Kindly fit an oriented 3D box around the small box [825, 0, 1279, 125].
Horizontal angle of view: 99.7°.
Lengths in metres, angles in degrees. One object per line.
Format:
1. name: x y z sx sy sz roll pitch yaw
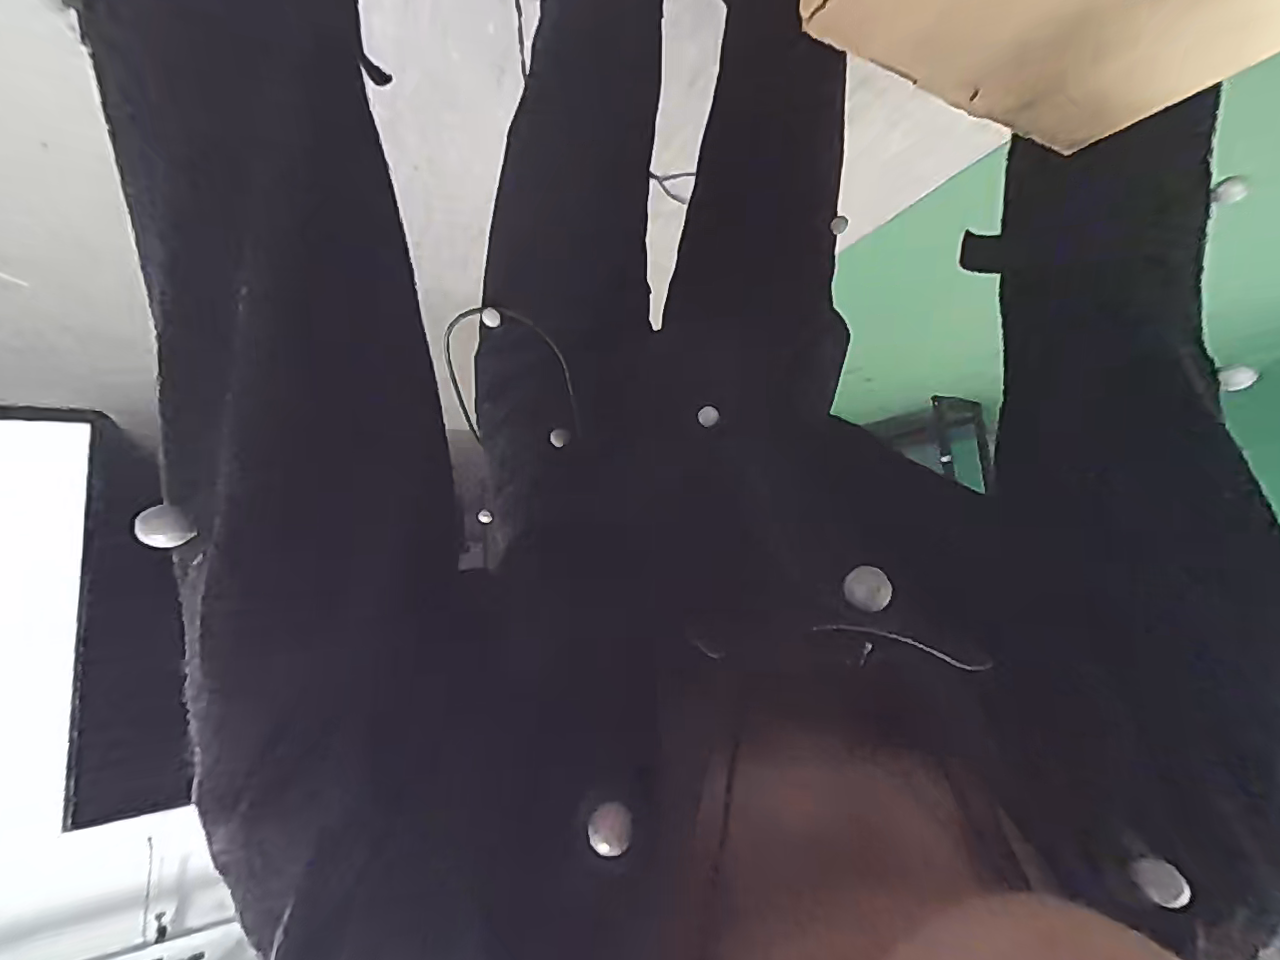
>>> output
1. small box: 0.170 -0.251 0.146 0.168 0.176 0.179 2 179 -24
